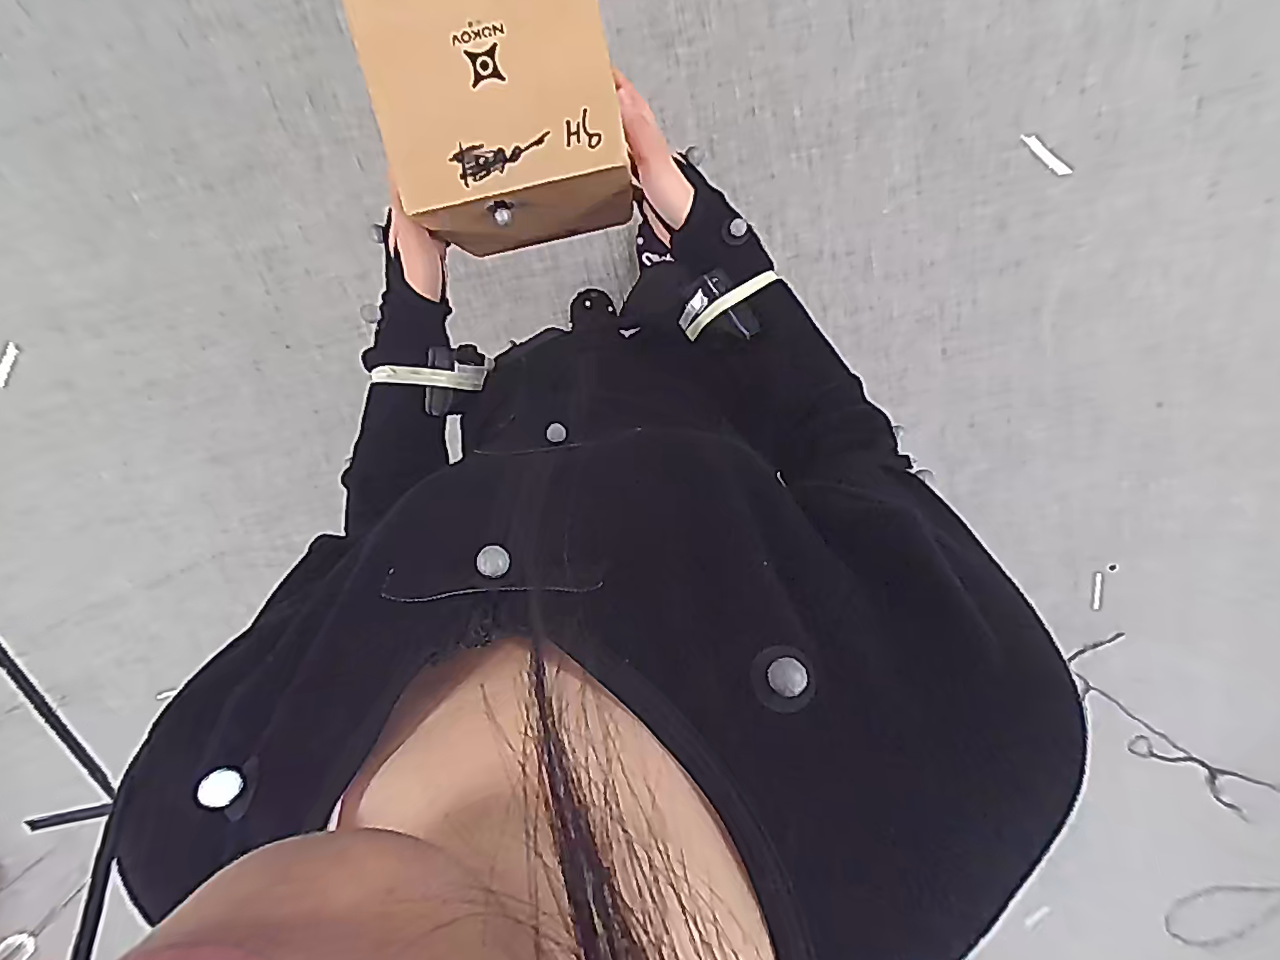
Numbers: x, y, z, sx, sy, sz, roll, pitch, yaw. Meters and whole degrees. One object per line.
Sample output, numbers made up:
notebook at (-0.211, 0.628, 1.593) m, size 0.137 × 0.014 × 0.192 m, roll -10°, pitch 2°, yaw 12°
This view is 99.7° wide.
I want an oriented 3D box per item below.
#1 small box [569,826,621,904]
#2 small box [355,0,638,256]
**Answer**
small box at (-0.162, 1.377, 1.938) m, size 0.179 × 0.176 × 0.168 m, roll 2°, pitch 109°, yaw -6°
small box at (-0.099, -0.302, 0.439) m, size 0.168 × 0.176 × 0.179 m, roll -12°, pitch 102°, yaw 2°
